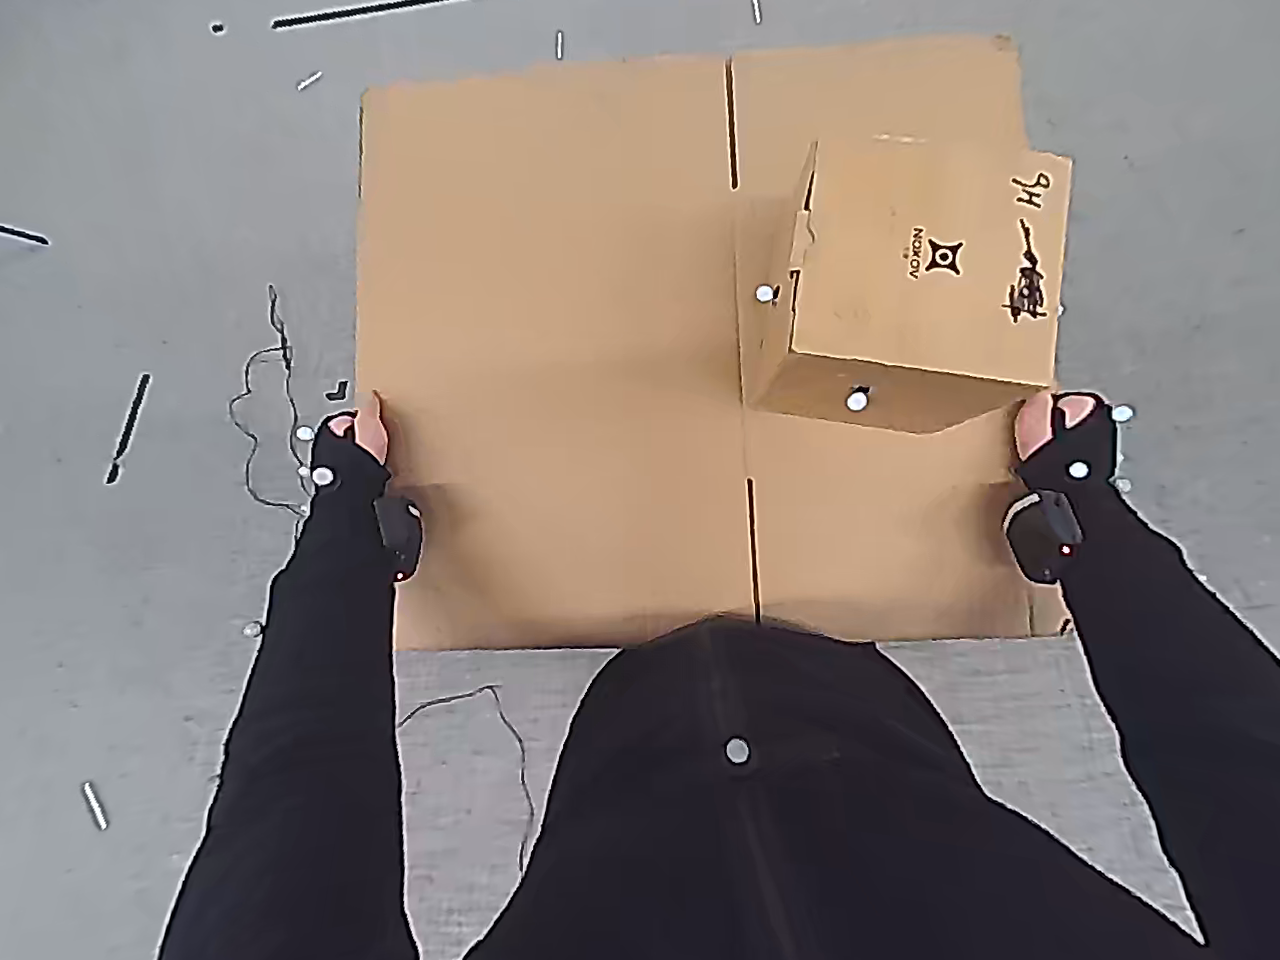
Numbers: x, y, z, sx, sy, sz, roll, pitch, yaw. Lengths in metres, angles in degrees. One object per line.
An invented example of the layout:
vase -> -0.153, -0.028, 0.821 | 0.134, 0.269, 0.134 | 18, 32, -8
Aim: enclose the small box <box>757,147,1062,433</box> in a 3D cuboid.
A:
small box -> 0.203, -0.142, 0.457 | 0.179, 0.176, 0.168 | 9, 86, 5
